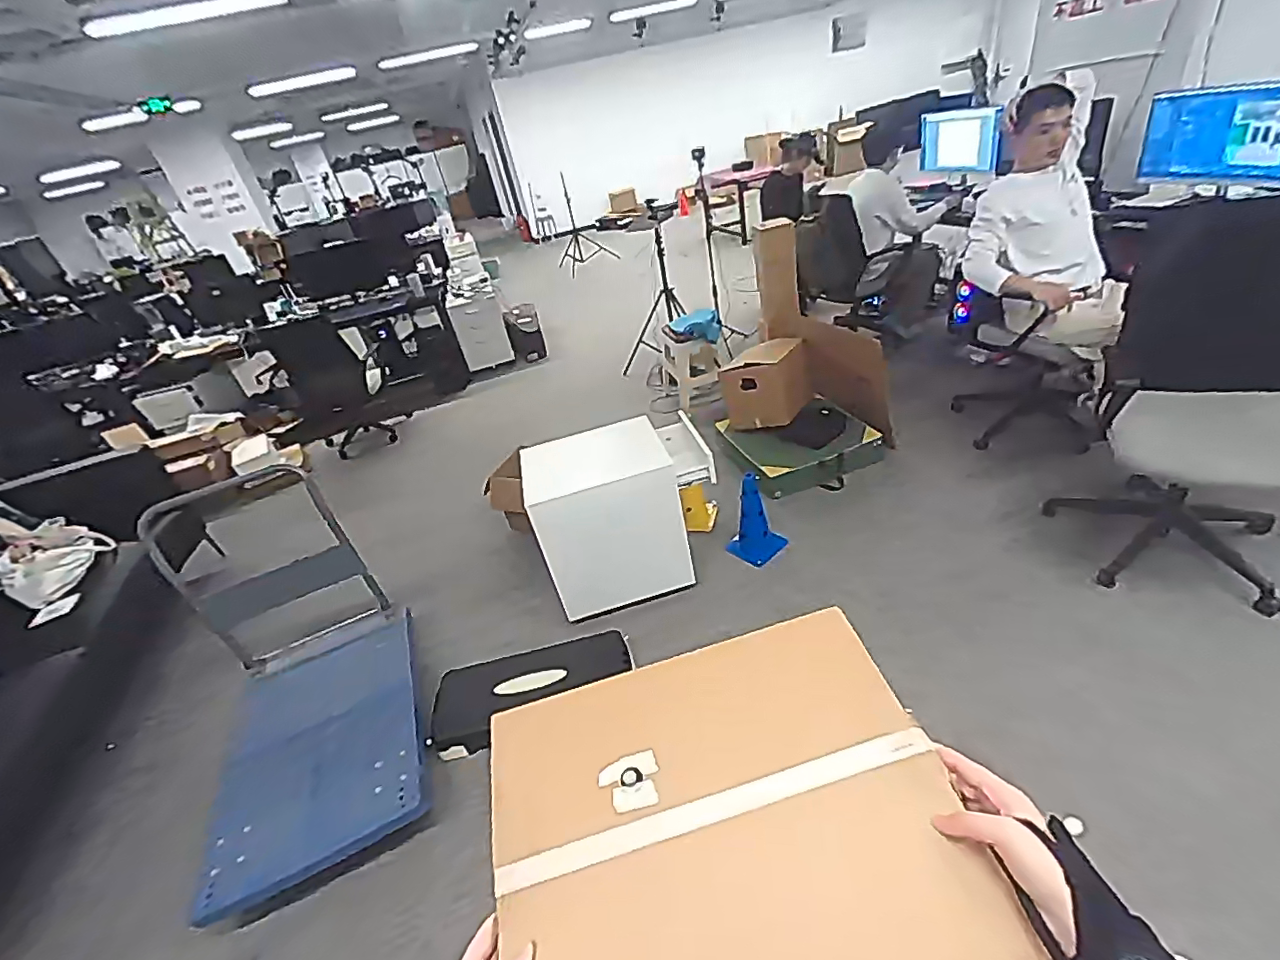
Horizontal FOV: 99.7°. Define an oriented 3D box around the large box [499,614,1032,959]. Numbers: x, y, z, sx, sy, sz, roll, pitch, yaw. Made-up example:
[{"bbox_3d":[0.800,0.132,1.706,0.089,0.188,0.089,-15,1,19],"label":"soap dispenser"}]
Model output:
[{"bbox_3d":[0.100,0.413,0.596,0.408,0.320,0.320,-18,42,-1],"label":"large box"}]
